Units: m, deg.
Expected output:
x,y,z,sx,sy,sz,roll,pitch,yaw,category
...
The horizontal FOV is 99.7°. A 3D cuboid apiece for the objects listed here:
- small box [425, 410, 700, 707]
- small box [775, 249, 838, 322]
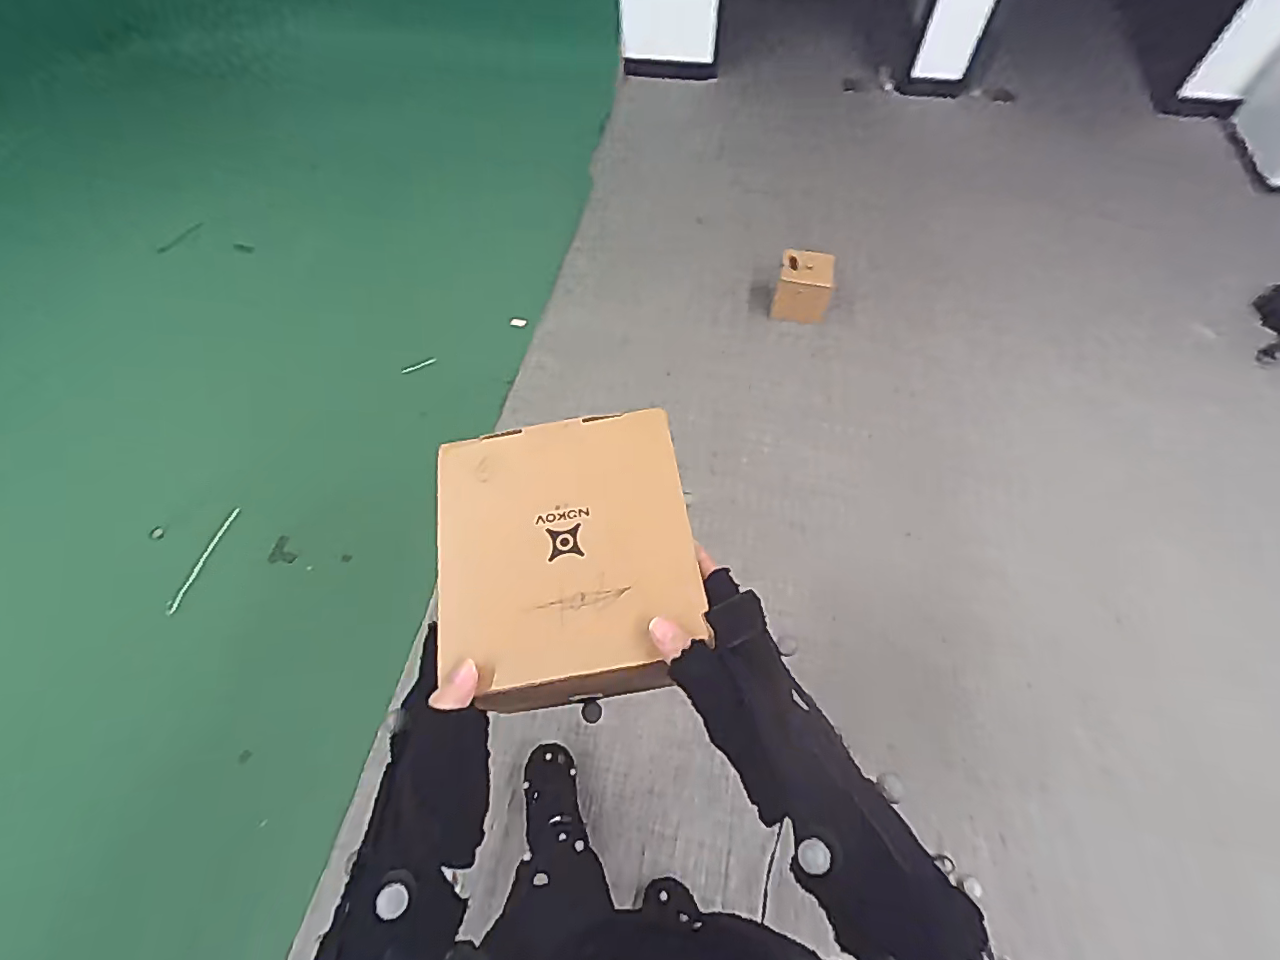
x,y,z,sx,sy,sz,roll,pitch,yaw,category
-0.051,0.071,0.425,0.168,0.176,0.179,-9,65,0,small box
0.576,-0.675,1.882,0.179,0.176,0.168,10,61,7,small box
